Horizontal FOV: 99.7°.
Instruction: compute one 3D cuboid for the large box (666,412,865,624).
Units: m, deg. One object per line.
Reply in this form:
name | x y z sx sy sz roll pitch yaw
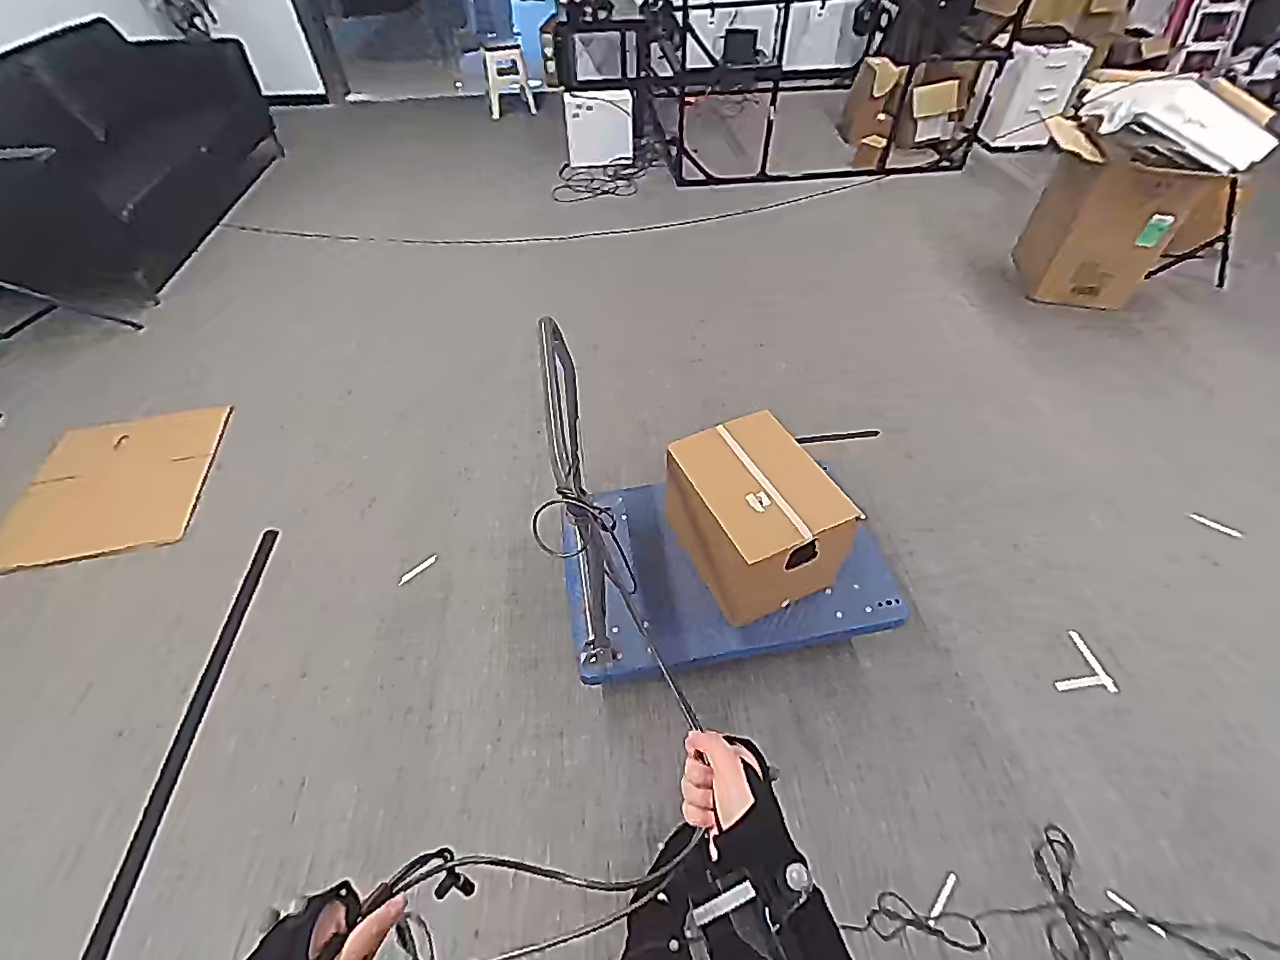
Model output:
large box | 0.294 0.094 1.421 0.320 0.320 0.408 -21 53 -14
